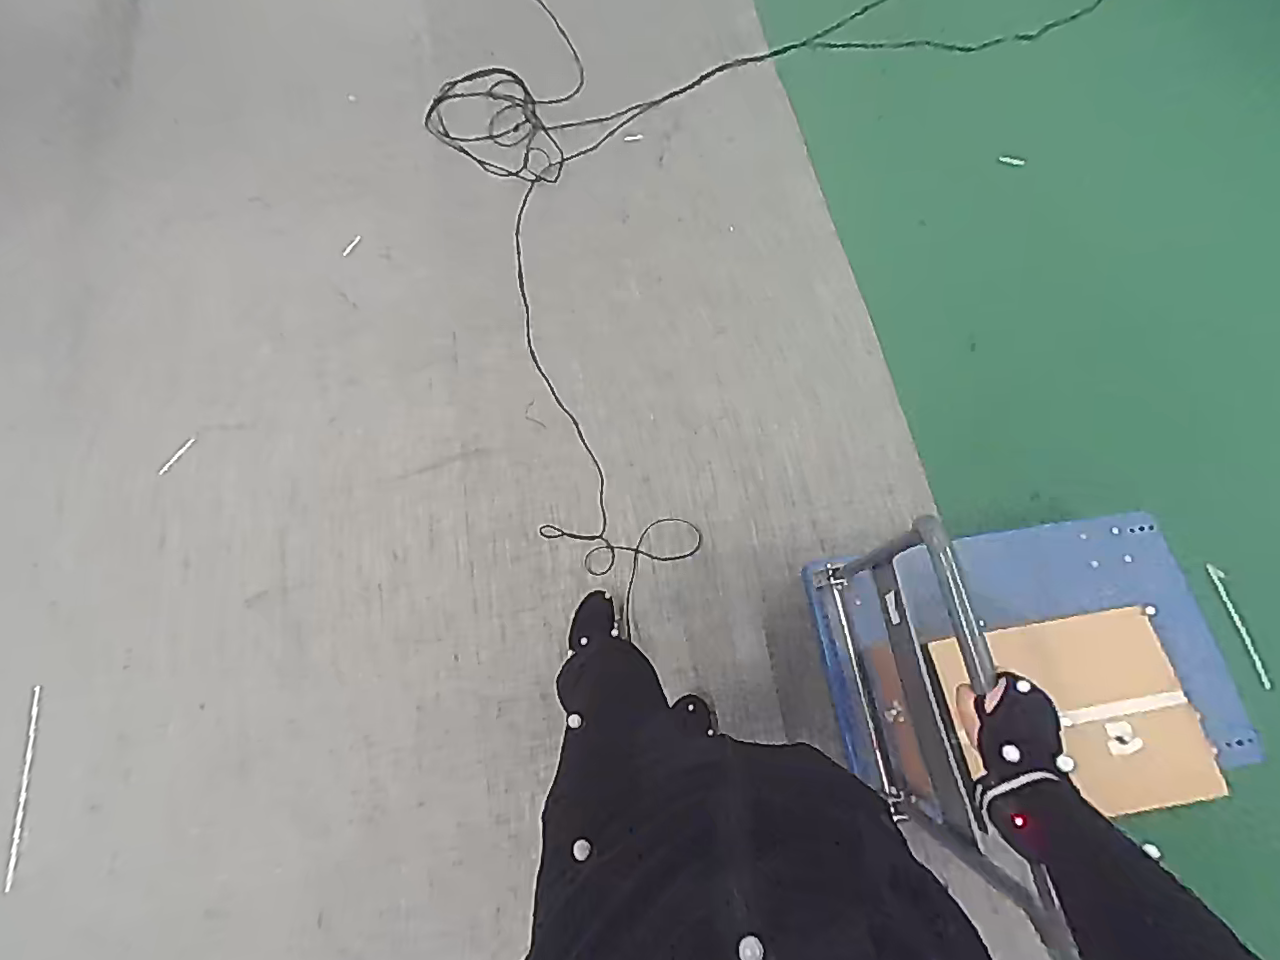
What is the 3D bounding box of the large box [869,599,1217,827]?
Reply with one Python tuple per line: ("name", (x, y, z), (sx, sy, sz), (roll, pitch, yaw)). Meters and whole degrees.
("large box", (0.750, 0.446, 1.086), (0.408, 0.320, 0.320), (-10, 72, -1))
